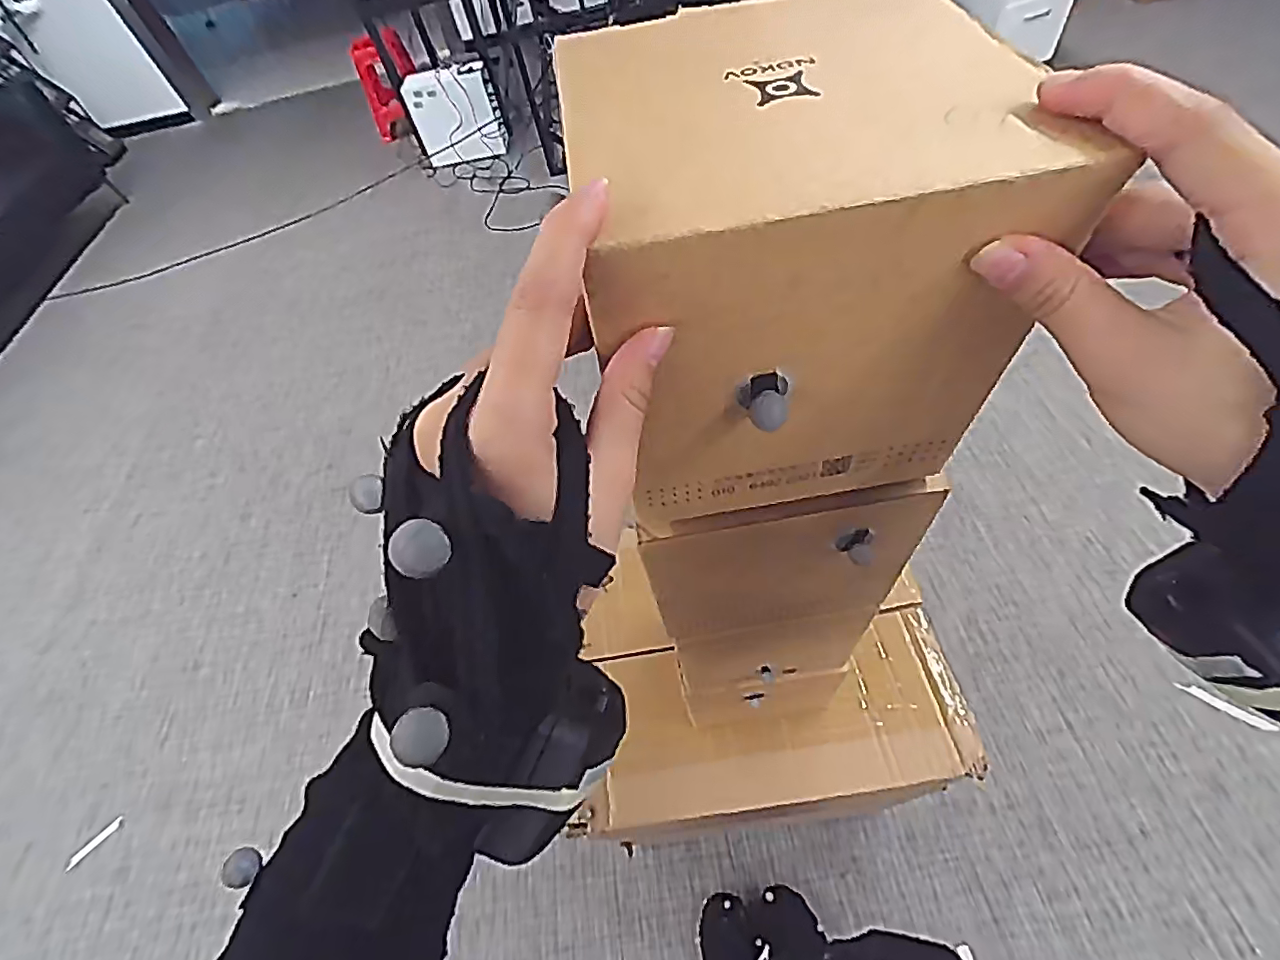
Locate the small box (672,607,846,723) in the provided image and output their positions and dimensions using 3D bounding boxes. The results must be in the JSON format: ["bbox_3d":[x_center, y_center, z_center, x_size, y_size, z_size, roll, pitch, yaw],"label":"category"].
[{"bbox_3d":[0.133,0.191,0.671,0.179,0.176,0.168,-10,54,3],"label":"small box"}]

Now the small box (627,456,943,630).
[{"bbox_3d":[0.084,-0.002,0.408,0.179,0.176,0.168,-10,55,3],"label":"small box"}]

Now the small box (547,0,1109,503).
[{"bbox_3d":[0.057,-0.103,0.270,0.168,0.176,0.179,-10,55,1],"label":"small box"}]
